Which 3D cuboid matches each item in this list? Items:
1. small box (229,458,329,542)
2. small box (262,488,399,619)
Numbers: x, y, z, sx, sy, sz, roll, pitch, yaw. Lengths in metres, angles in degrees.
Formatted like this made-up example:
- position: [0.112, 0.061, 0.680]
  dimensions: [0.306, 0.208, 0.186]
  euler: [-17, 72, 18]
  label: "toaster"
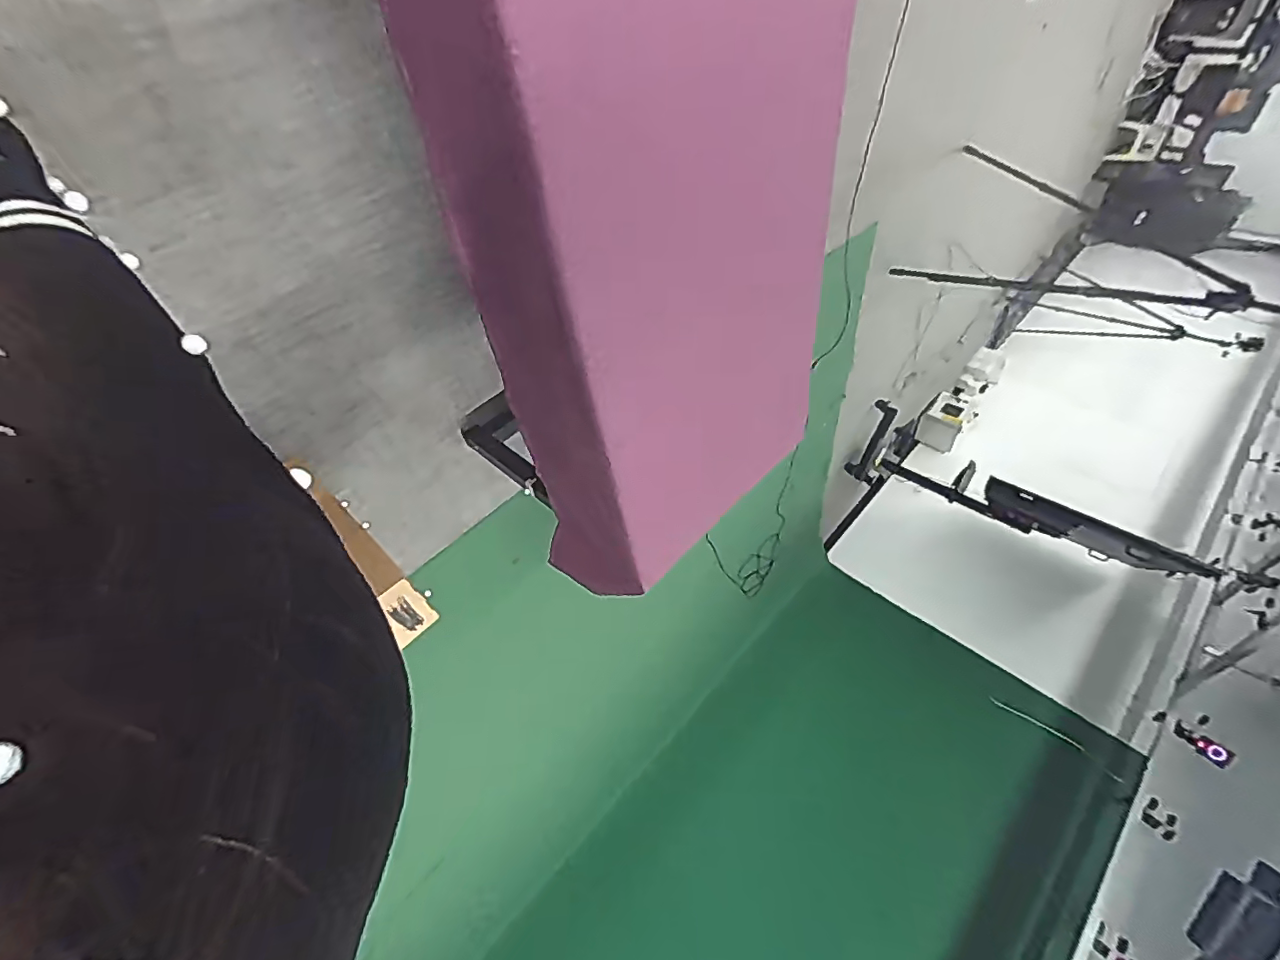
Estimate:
- position: [-0.777, 0.072, 1.224]
  dimensions: [0.168, 0.176, 0.179]
  euler: [-42, 146, -22]
  label: "small box"
- position: [-0.659, 0.152, 1.146]
  dimensions: [0.179, 0.176, 0.168]
  euler: [-41, 146, -25]
  label: "small box"
